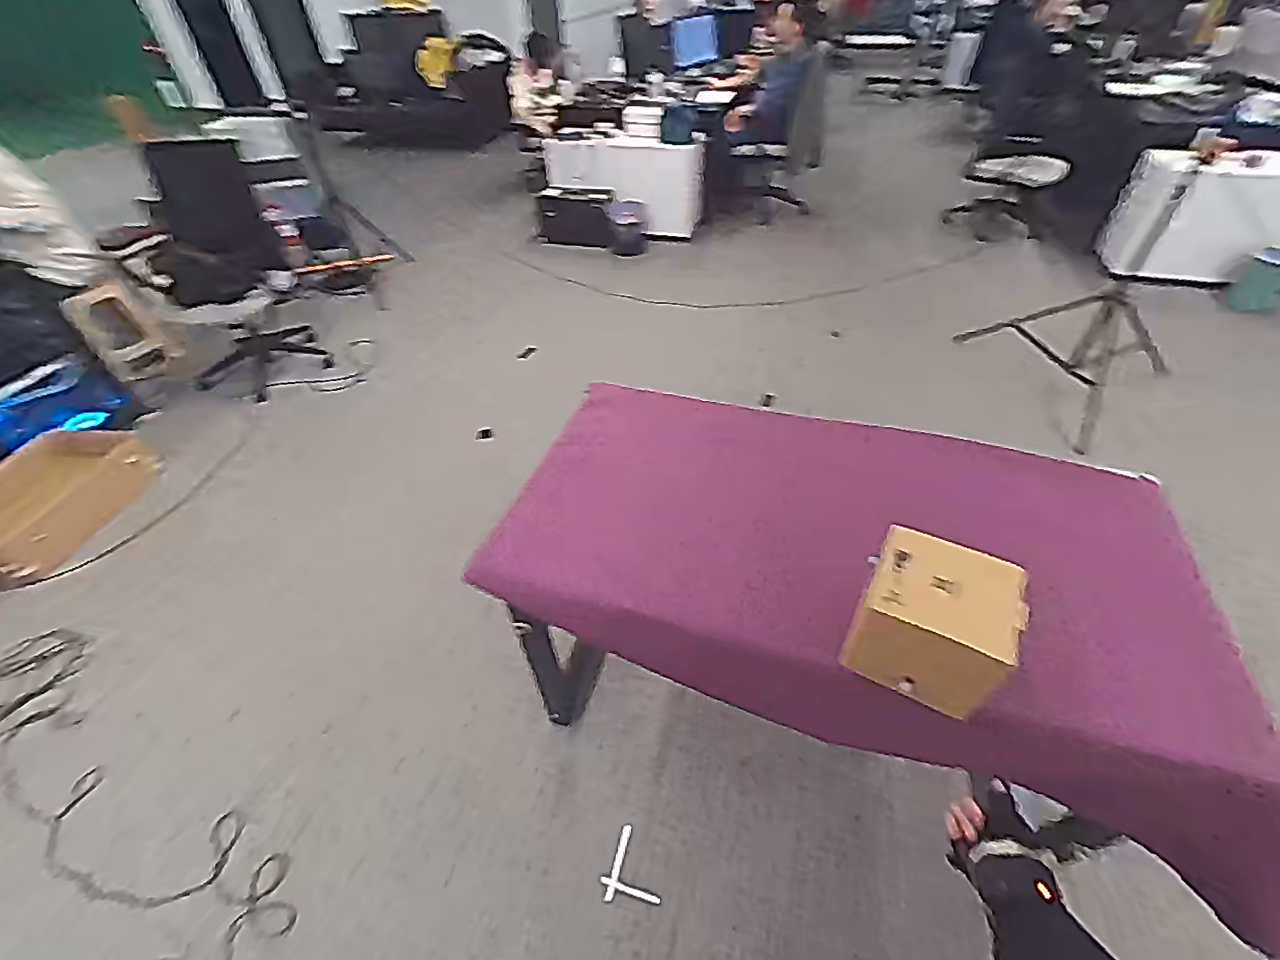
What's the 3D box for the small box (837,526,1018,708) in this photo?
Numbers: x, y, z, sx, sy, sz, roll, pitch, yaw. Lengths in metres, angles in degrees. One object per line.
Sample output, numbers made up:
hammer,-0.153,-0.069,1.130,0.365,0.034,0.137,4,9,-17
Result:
small box,0.413,0.204,0.790,0.179,0.176,0.168,21,48,22
